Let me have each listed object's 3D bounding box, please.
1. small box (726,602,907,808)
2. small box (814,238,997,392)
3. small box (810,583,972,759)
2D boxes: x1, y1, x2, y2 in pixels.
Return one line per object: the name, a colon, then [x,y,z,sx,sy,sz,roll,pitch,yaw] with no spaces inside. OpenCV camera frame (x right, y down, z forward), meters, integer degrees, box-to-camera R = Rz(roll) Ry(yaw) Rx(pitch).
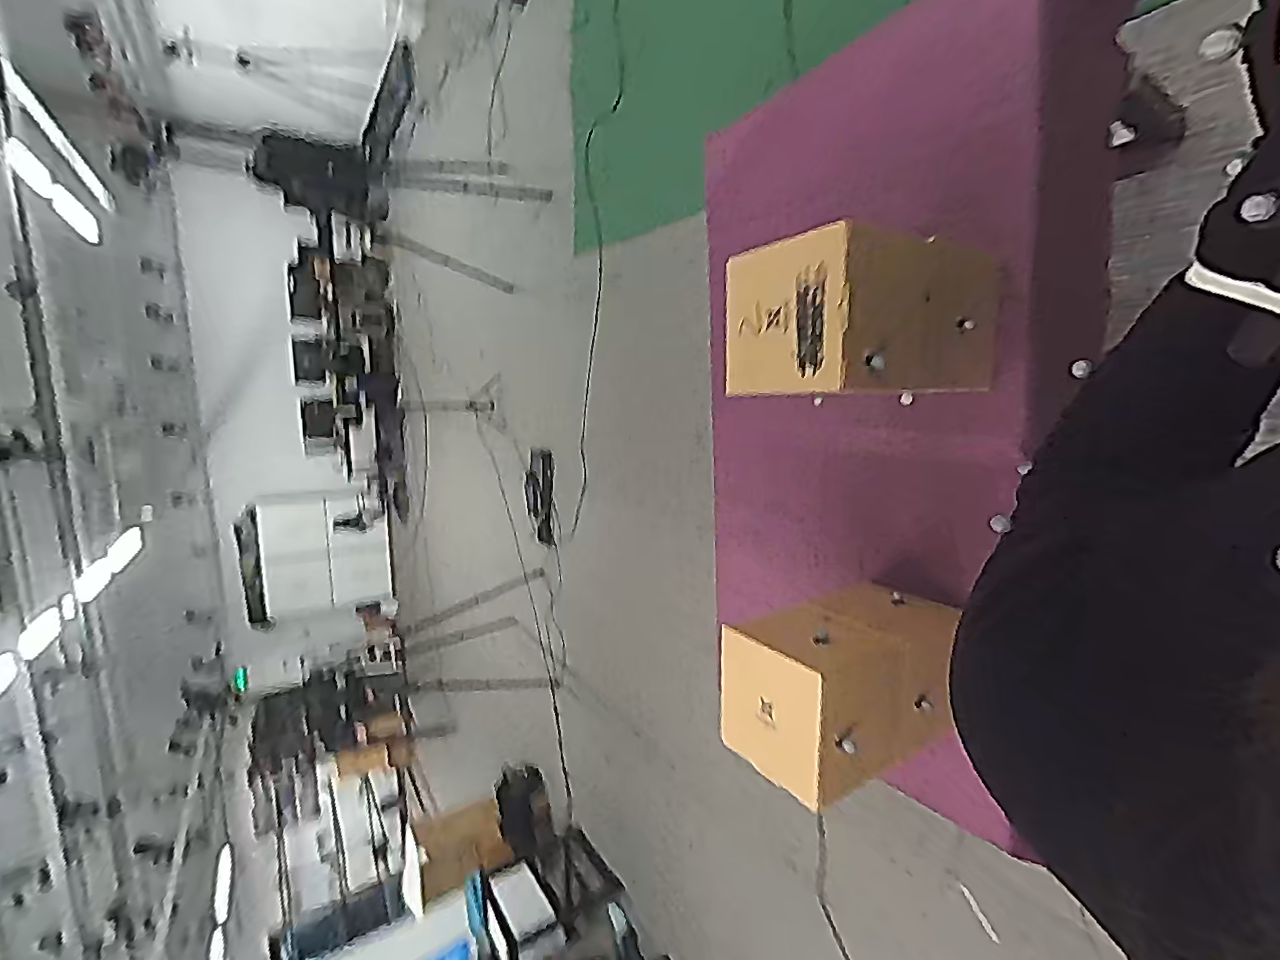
small box: [0.234,0.280,0.723,0.168,0.176,0.179,11,105,56]
small box: [0.362,-0.212,0.743,0.168,0.176,0.179,11,106,56]
small box: [0.371,0.271,0.813,0.168,0.176,0.179,12,104,55]
